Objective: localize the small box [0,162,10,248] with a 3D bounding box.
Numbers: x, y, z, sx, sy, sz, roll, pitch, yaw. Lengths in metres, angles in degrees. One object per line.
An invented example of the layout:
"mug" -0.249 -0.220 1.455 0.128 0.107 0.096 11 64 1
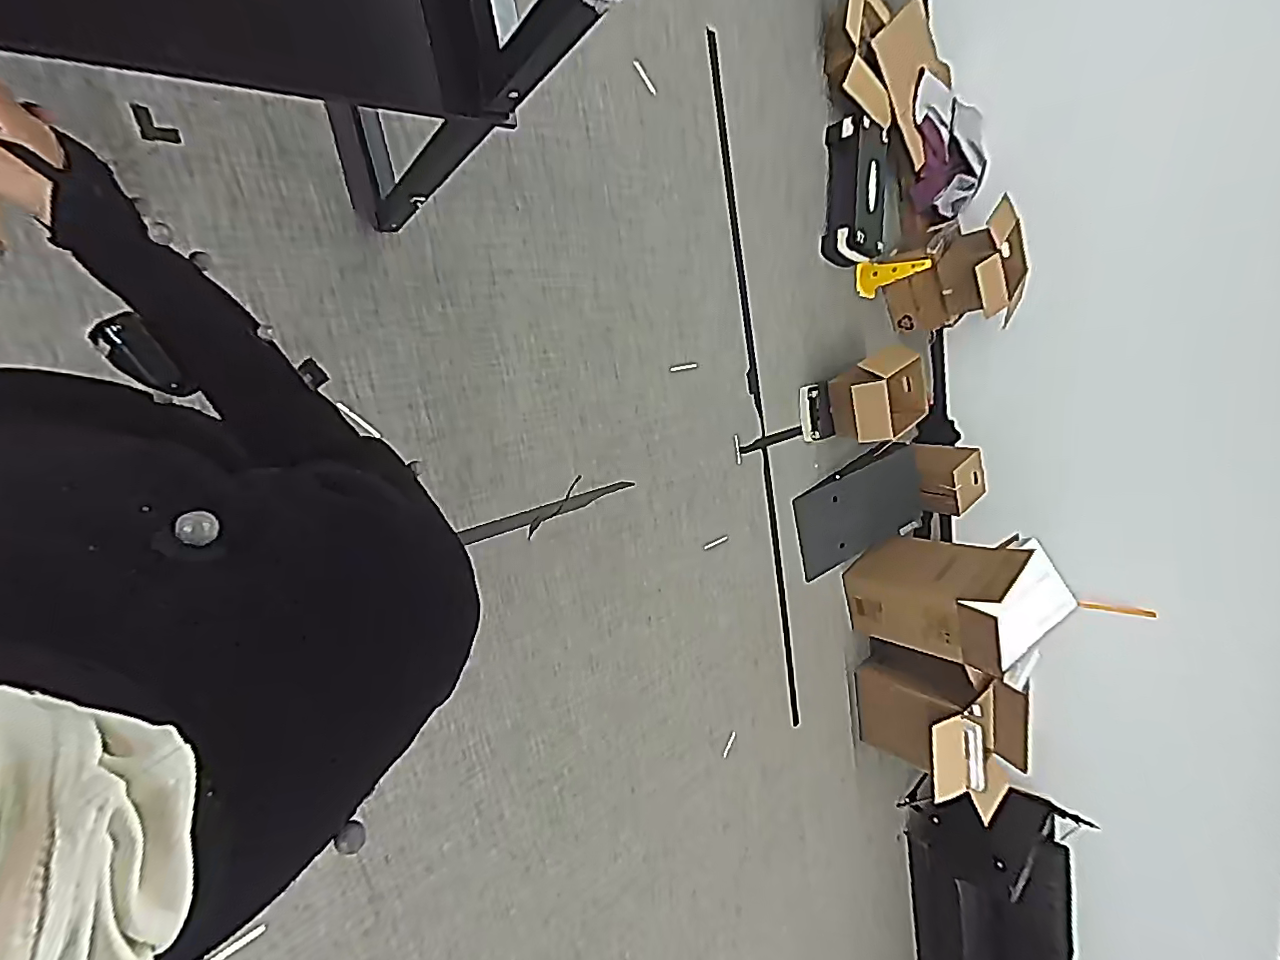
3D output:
"small box" -0.606 -0.287 0.394 0.168 0.176 0.179 -8 103 -42
